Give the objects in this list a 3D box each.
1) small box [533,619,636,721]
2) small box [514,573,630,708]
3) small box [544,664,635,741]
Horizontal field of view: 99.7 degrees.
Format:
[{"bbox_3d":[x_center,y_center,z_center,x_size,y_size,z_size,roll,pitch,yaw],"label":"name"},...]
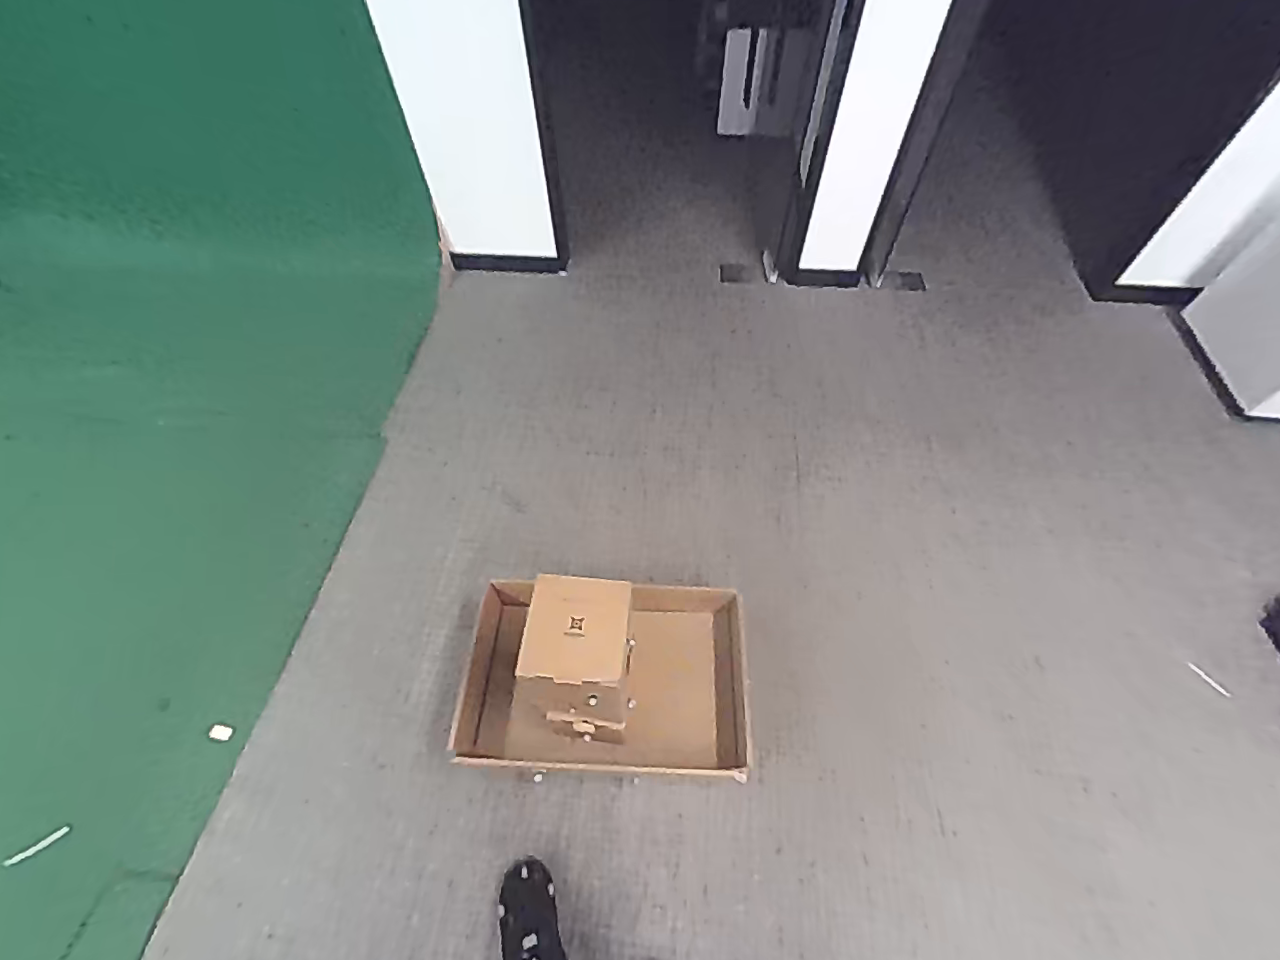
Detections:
[{"bbox_3d":[-0.106,0.371,1.084,0.179,0.176,0.168,9,55,7],"label":"small box"},{"bbox_3d":[-0.107,0.285,0.946,0.168,0.176,0.179,5,53,3],"label":"small box"},{"bbox_3d":[-0.103,0.473,1.213,0.168,0.176,0.179,7,56,5],"label":"small box"}]
